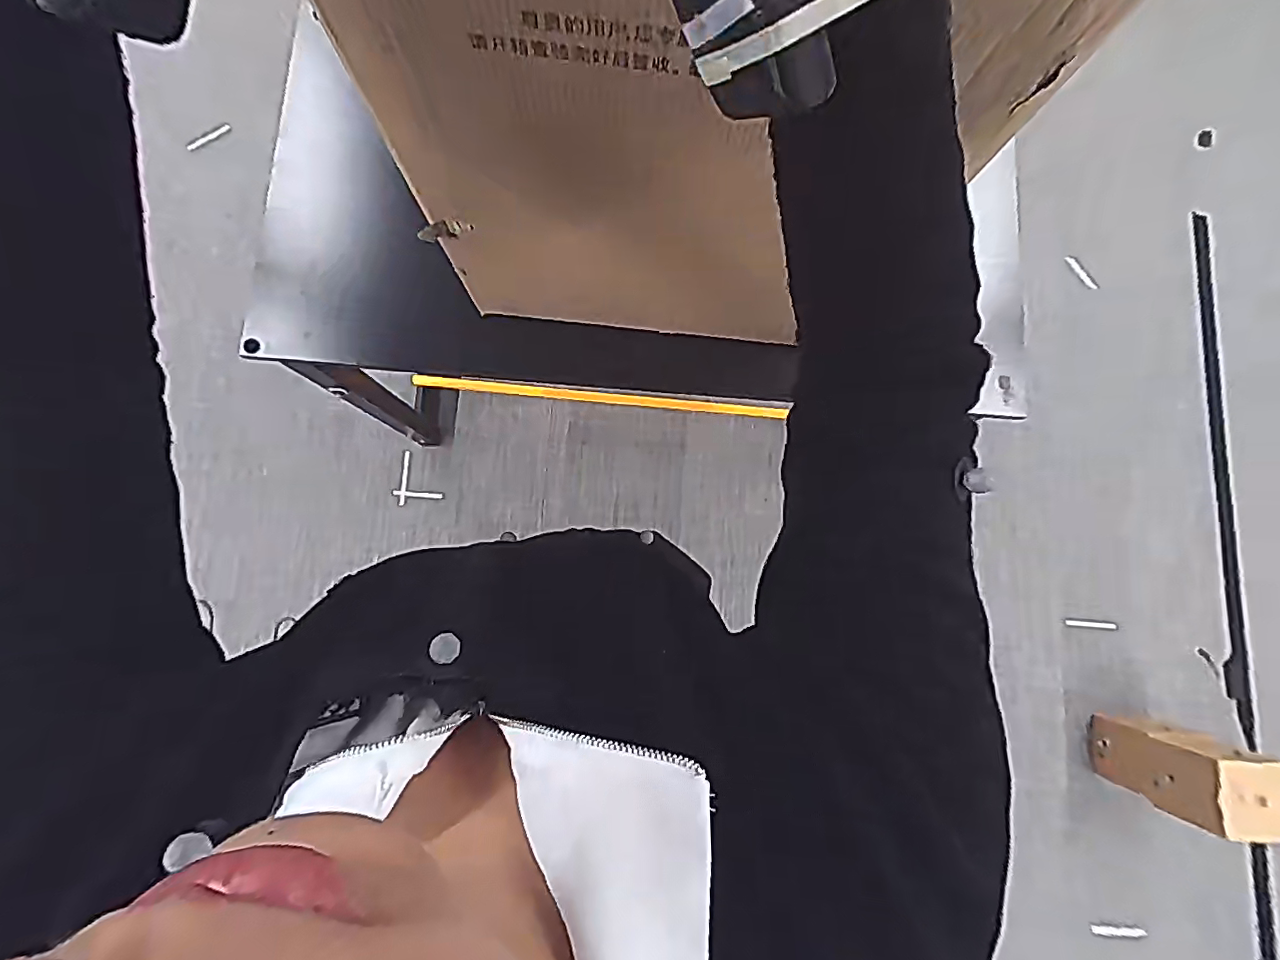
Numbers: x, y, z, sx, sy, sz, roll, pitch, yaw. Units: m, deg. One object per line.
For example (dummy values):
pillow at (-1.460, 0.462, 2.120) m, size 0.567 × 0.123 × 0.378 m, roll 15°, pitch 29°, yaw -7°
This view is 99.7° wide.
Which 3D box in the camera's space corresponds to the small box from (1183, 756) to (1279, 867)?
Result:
small box at (1.380, 0.730, 1.203) m, size 0.179 × 0.176 × 0.168 m, roll 4°, pitch 81°, yaw -3°

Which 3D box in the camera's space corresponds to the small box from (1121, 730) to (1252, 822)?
small box at (1.379, 0.745, 1.368) m, size 0.179 × 0.176 × 0.168 m, roll 3°, pitch 82°, yaw -2°
